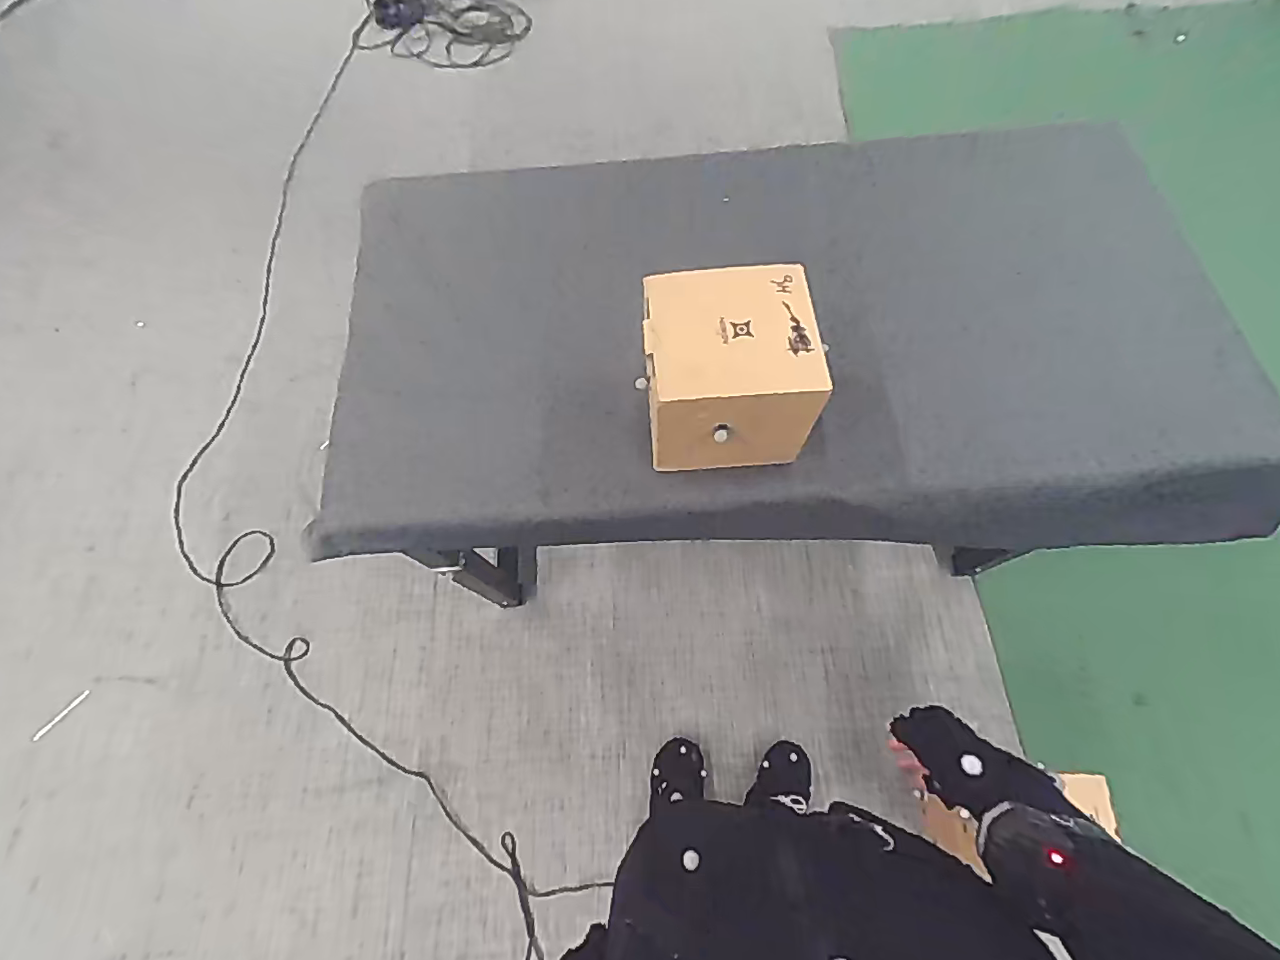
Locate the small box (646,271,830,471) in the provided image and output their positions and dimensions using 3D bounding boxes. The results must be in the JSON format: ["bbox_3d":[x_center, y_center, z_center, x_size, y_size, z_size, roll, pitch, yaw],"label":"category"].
[{"bbox_3d":[0.102,-0.118,0.636,0.179,0.176,0.168,-4,66,1],"label":"small box"}]

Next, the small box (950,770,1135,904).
[{"bbox_3d":[0.672,0.599,0.928,0.179,0.176,0.168,0,66,3],"label":"small box"}]

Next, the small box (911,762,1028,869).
[{"bbox_3d":[0.675,0.663,1.080,0.179,0.176,0.168,-1,66,4],"label":"small box"}]
